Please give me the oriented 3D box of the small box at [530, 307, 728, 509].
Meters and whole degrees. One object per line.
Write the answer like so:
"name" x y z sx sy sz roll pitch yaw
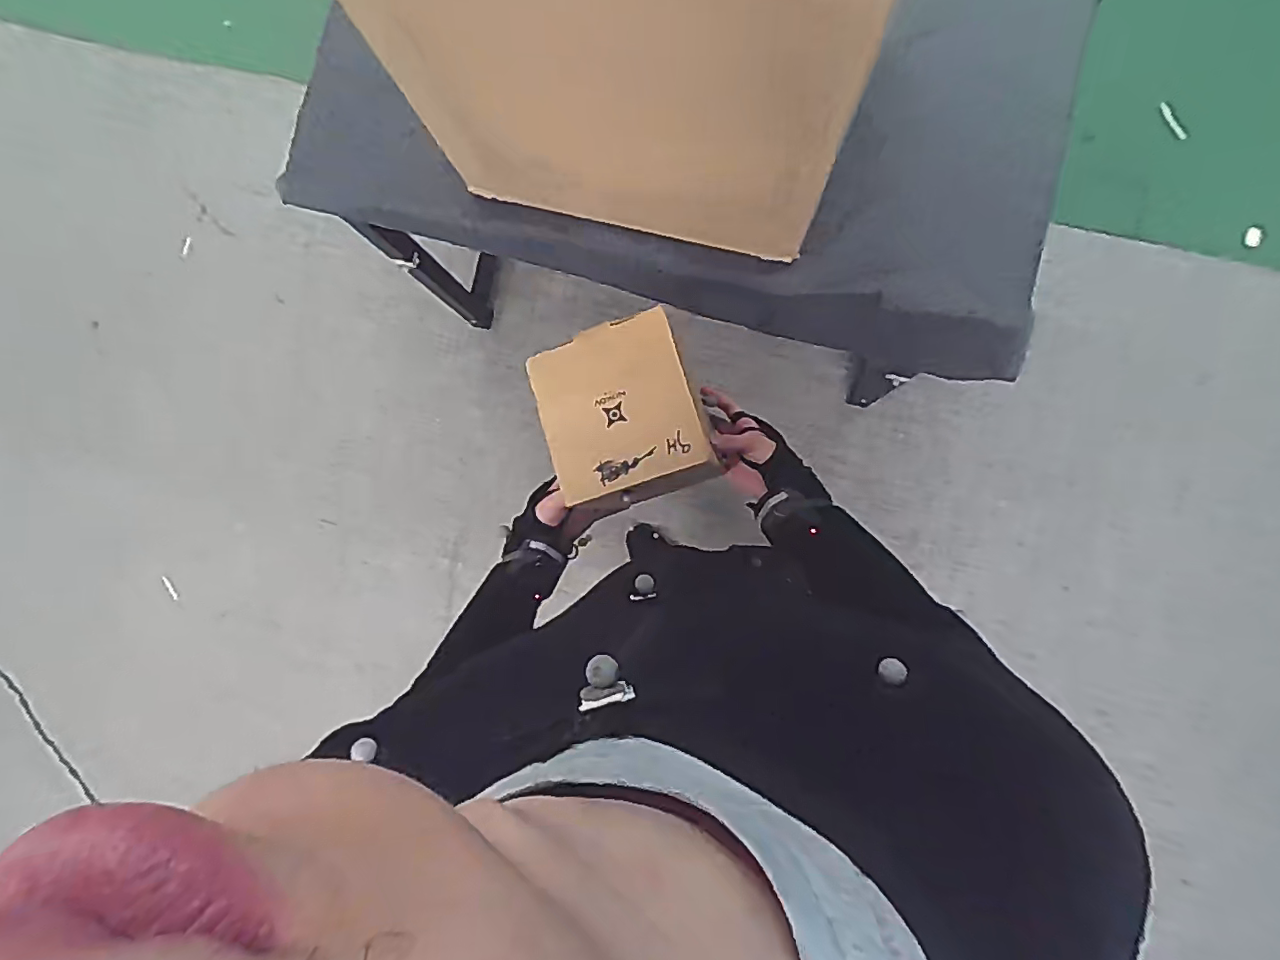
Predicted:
"small box" -0.003 -0.070 0.647 0.168 0.176 0.179 -20 81 14
